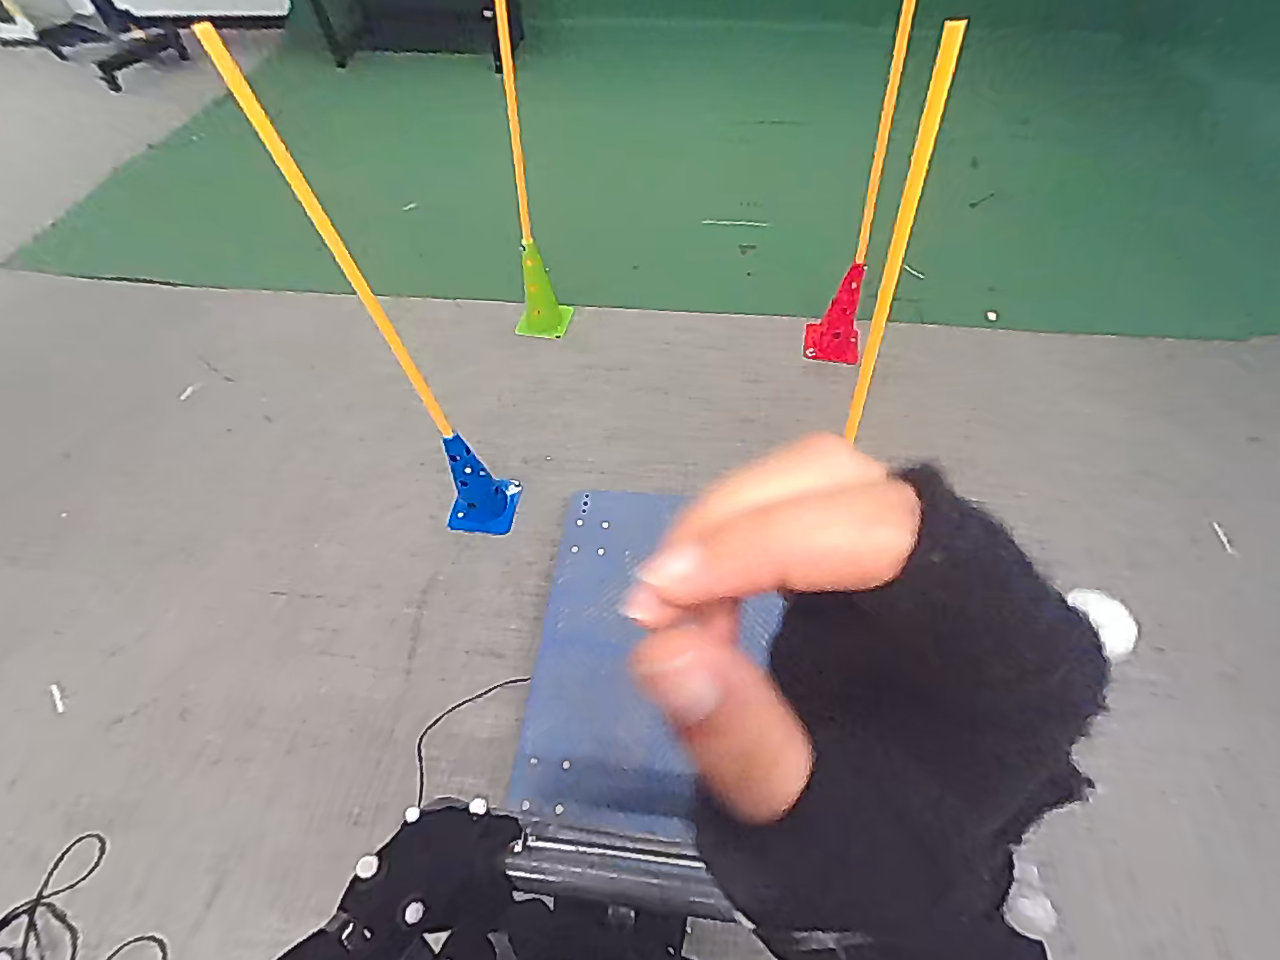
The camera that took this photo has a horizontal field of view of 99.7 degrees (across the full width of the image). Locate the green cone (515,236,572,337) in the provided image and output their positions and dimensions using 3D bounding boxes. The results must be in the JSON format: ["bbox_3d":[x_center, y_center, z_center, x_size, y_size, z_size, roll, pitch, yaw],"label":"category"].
[{"bbox_3d":[-0.396,-0.752,2.056,0.202,0.368,0.200,8,56,8],"label":"green cone"}]
